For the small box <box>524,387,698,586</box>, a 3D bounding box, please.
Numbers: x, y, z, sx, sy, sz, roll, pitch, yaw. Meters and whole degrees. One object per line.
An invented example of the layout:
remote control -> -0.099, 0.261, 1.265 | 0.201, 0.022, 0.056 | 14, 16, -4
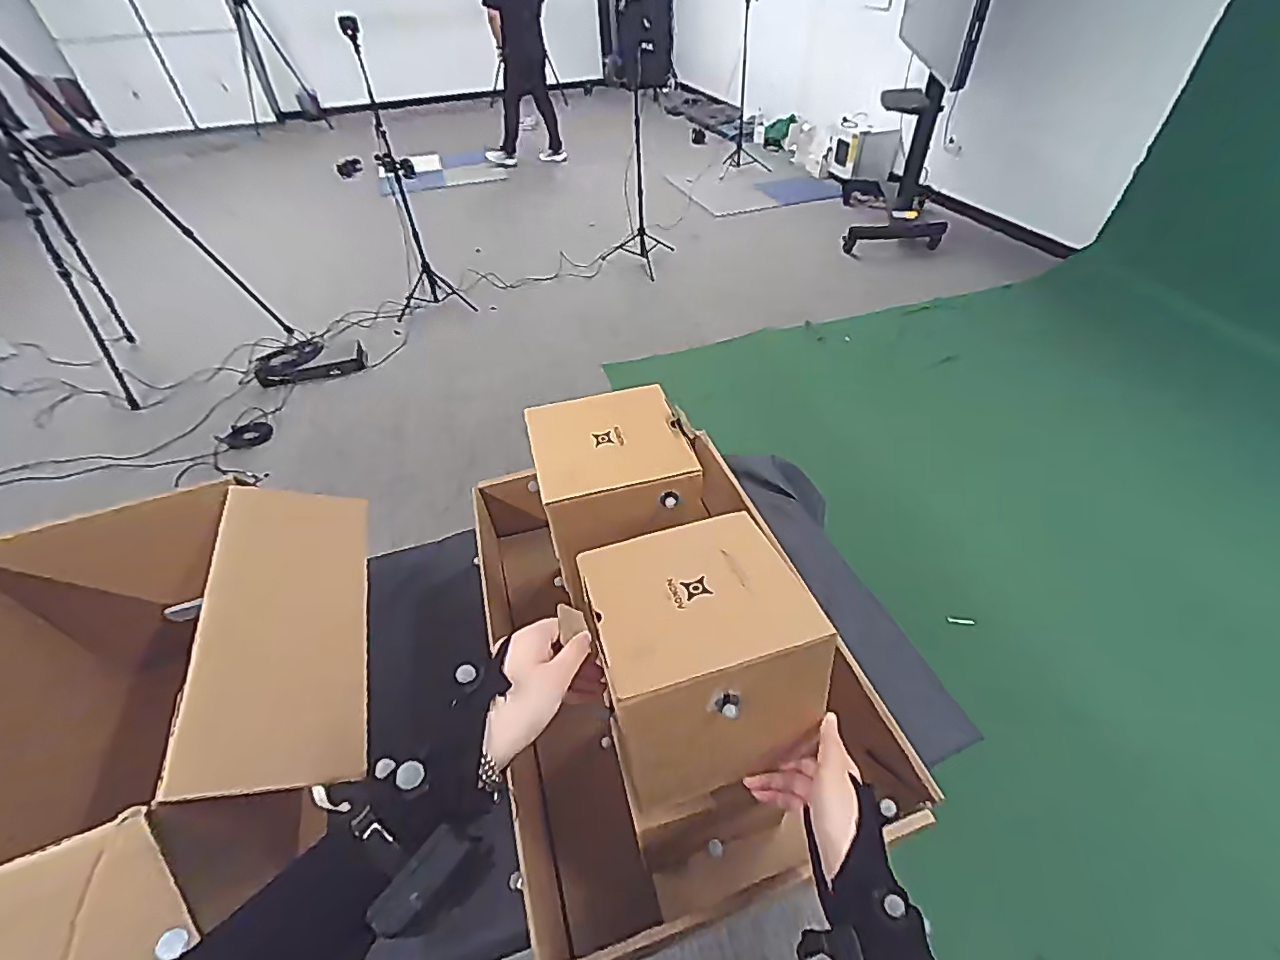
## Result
small box -> -0.035, 0.011, 0.680 | 0.179, 0.176, 0.168 | -12, 47, -10

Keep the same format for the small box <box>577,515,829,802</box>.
small box -> 0.052, 0.163, 0.506 | 0.179, 0.176, 0.168 | -14, 36, -10
